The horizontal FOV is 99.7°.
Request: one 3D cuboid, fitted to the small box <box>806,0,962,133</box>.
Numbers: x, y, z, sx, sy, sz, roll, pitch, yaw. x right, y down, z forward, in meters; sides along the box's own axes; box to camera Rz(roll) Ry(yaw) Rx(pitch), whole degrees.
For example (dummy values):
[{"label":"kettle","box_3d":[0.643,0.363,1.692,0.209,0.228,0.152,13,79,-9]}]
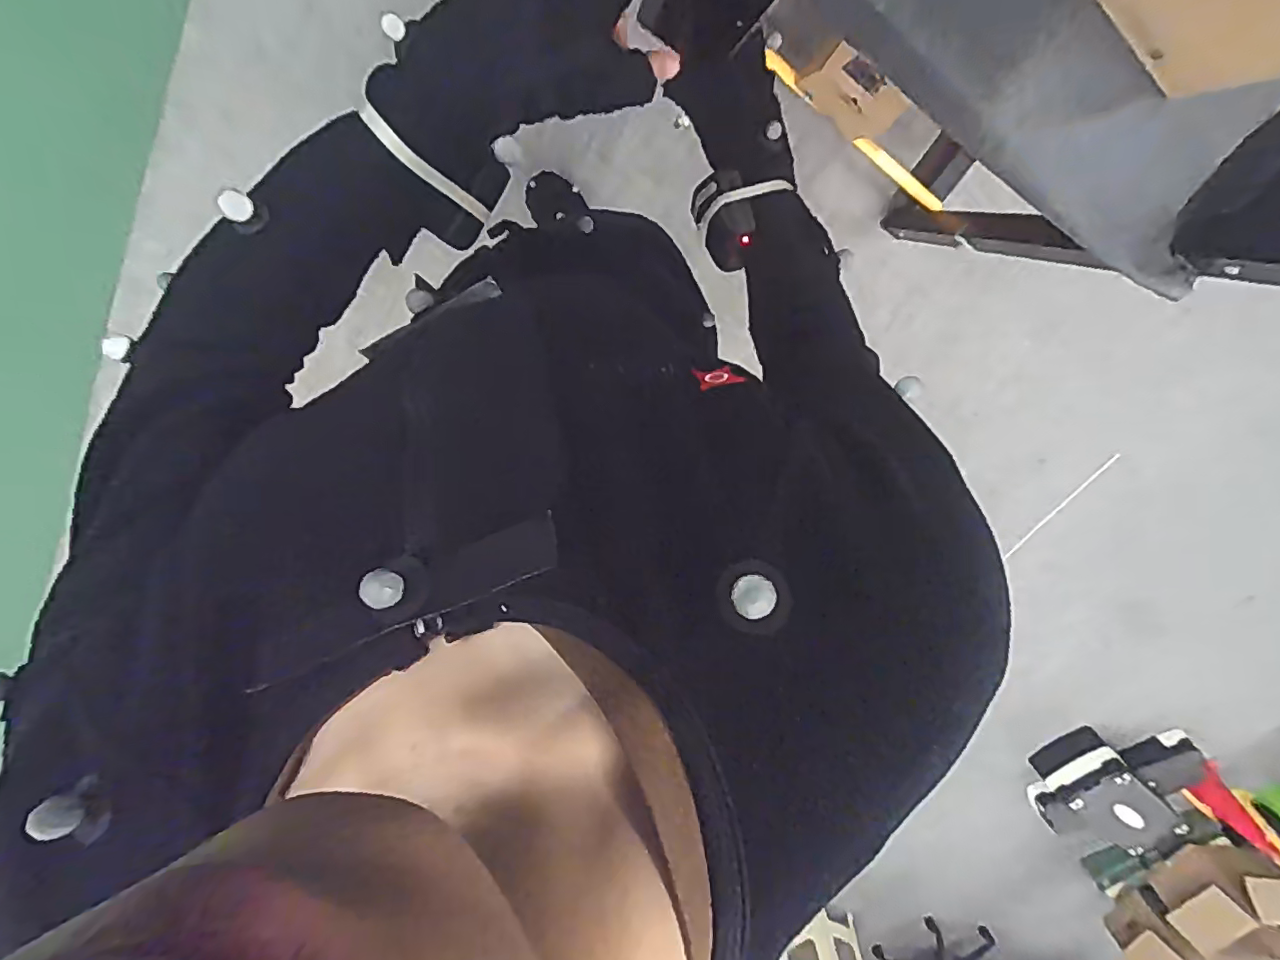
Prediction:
[{"label":"small box","box_3d":[0.428,-0.771,0.988,0.168,0.176,0.179,32,112,-19]}]
